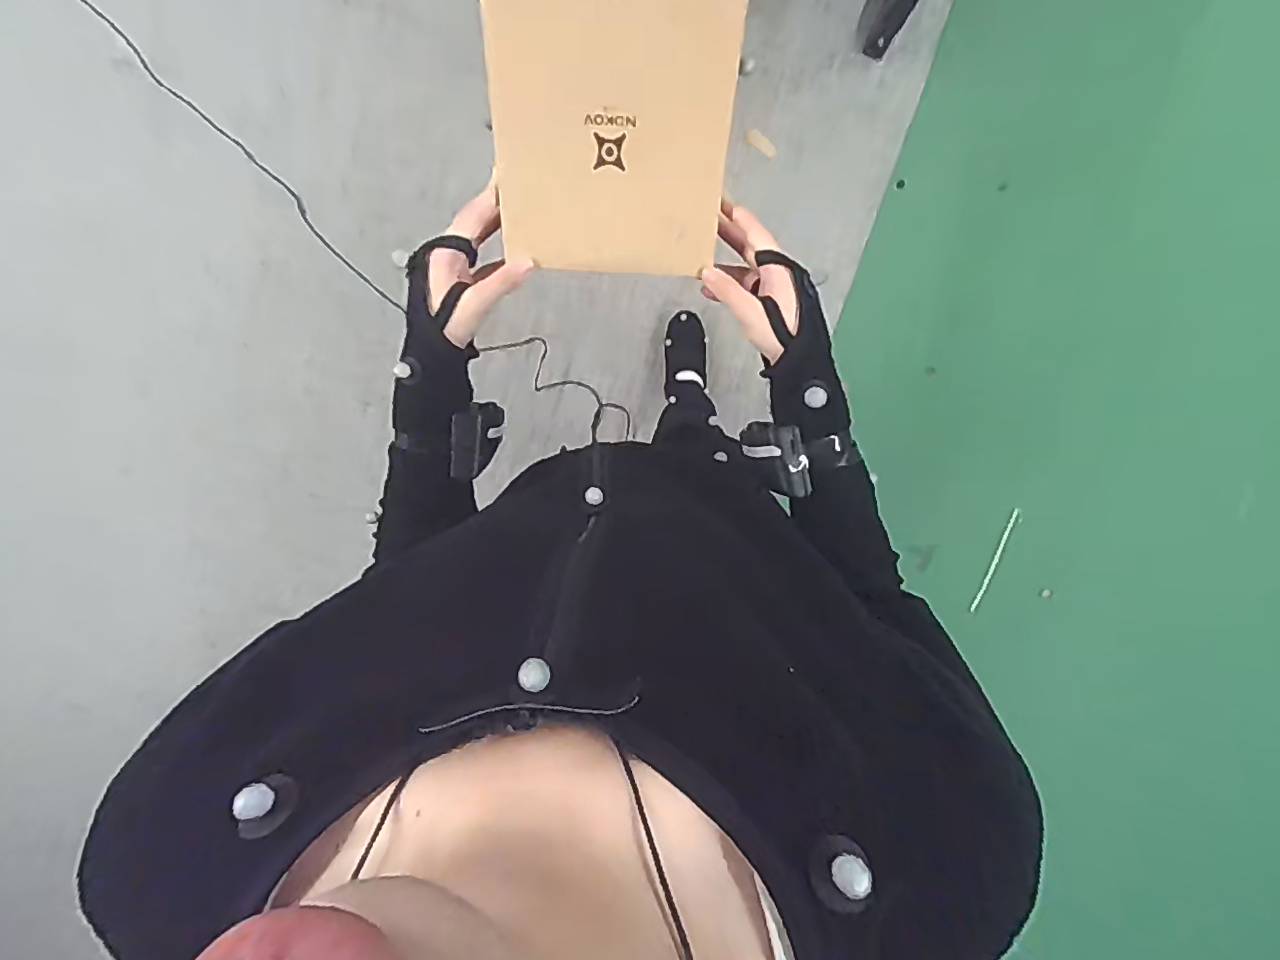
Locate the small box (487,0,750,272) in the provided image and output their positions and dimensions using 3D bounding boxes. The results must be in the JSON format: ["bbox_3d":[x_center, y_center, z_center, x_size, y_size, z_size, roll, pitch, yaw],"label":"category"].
[{"bbox_3d":[-0.015,-0.287,0.441,0.168,0.176,0.179,3,127,-1],"label":"small box"}]

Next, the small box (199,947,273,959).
[{"bbox_3d":[-0.761,0.992,0.963,0.168,0.176,0.179,11,95,-2],"label":"small box"}]
